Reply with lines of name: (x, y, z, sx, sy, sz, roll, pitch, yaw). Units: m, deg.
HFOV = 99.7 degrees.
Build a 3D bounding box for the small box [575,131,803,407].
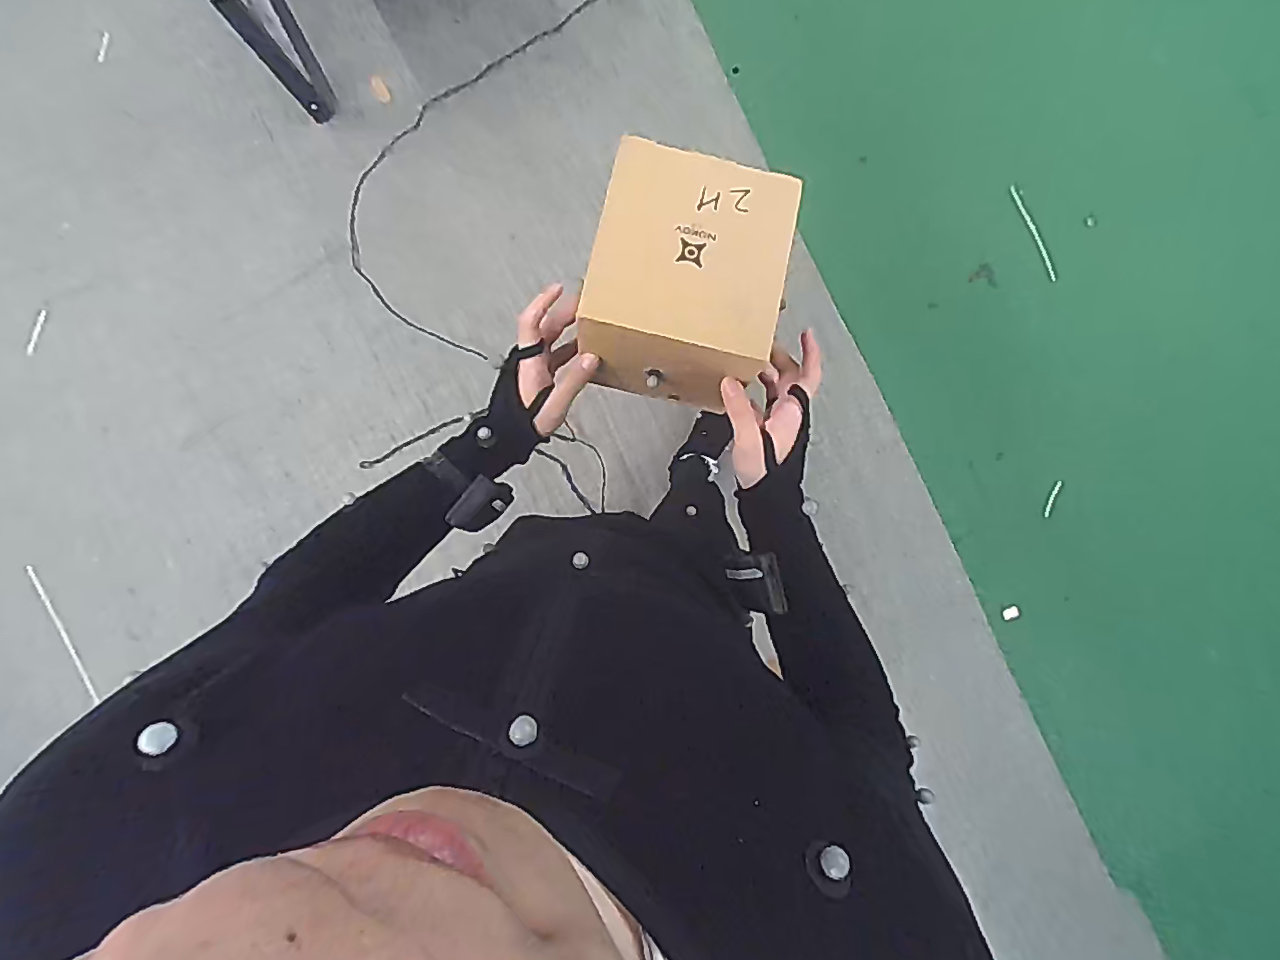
small box: (0.039, -0.187, 0.532, 0.168, 0.176, 0.179, 13, 80, -3)
